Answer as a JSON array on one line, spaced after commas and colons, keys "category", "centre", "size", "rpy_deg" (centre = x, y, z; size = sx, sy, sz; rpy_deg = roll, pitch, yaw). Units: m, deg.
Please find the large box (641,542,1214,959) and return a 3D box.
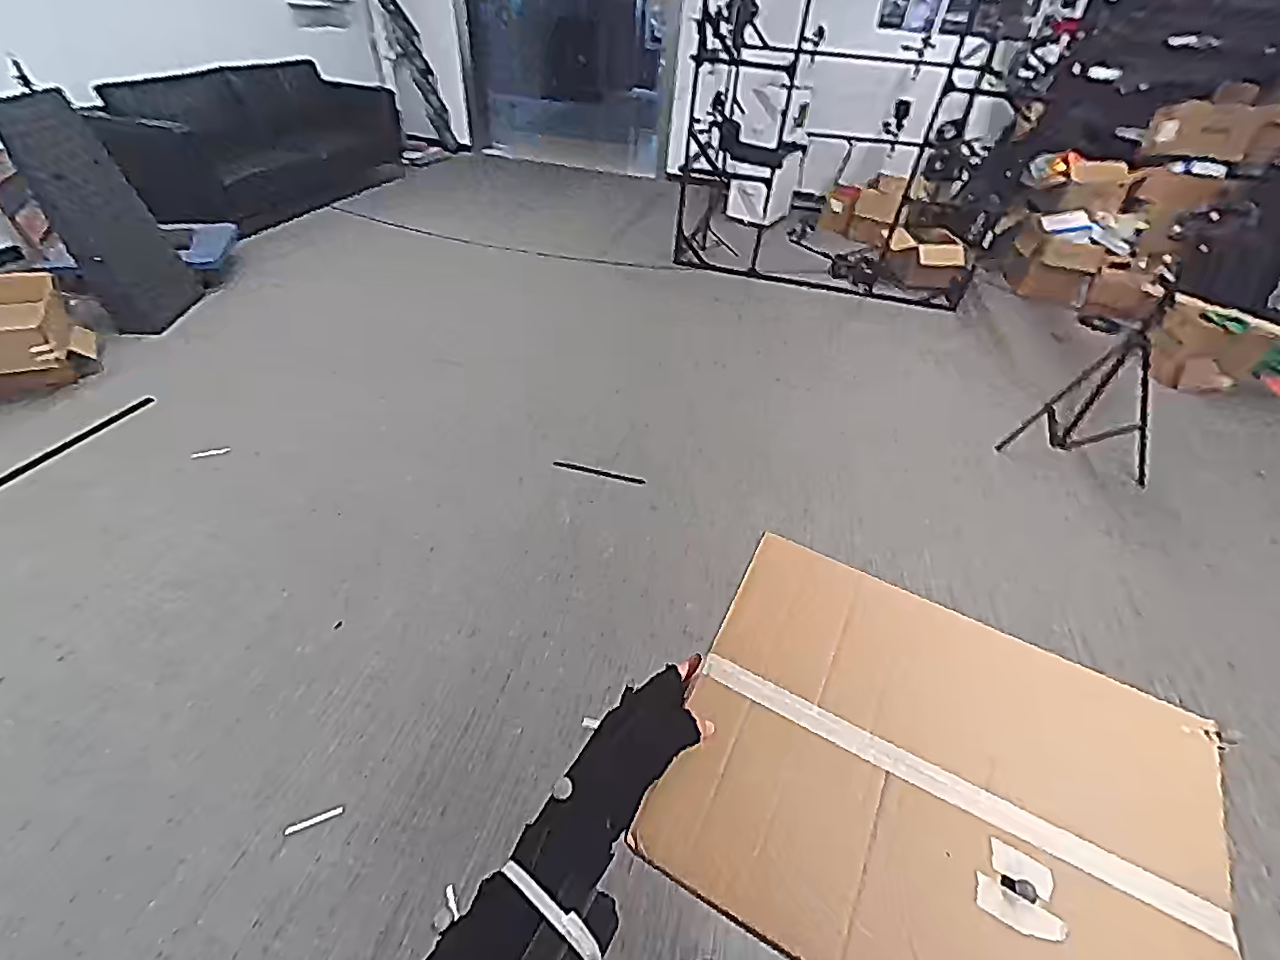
[{"category": "large box", "centre": [0.243, 0.332, 0.574], "size": [0.408, 0.320, 0.320], "rpy_deg": [24, 59, 16]}]
